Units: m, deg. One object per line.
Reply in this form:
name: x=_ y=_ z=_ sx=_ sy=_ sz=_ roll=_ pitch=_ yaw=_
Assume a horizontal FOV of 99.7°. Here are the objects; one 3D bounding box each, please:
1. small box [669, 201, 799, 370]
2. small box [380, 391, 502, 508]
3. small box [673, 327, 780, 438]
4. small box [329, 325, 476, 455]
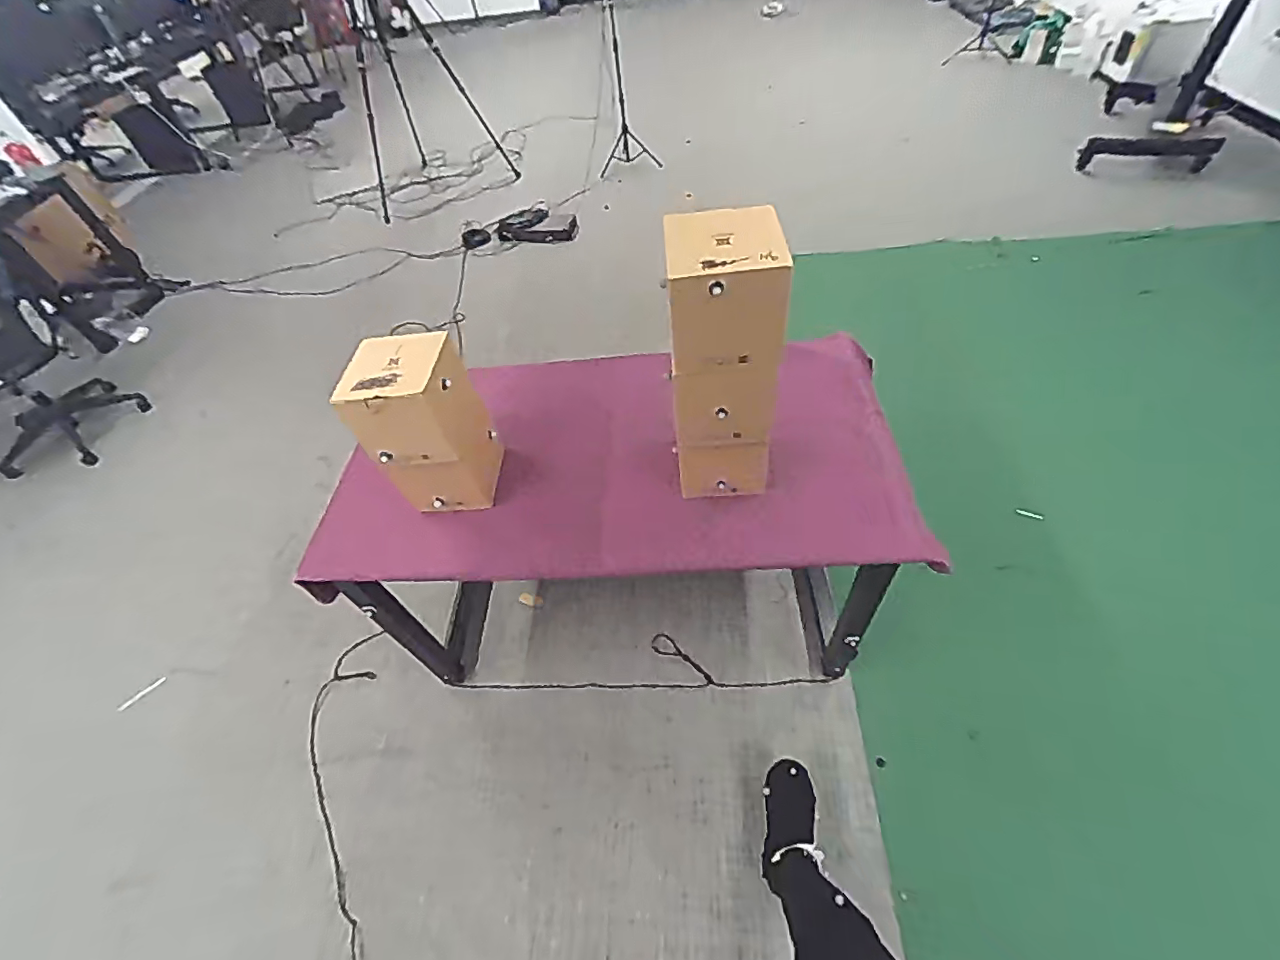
small box: x=0.130 y=-0.287 z=0.805 sx=0.168 sy=0.176 sz=0.179 roll=-4 pitch=50 yaw=5
small box: x=-0.397 y=-0.062 z=1.117 sx=0.168 sy=0.176 sz=0.179 roll=-3 pitch=51 yaw=5
small box: x=0.144 y=-0.184 z=0.932 sx=0.168 sy=0.176 sz=0.179 roll=-2 pitch=51 yaw=6
small box: x=-0.416 y=-0.157 z=0.985 sx=0.168 sy=0.176 sz=0.179 roll=-3 pitch=50 yaw=6
